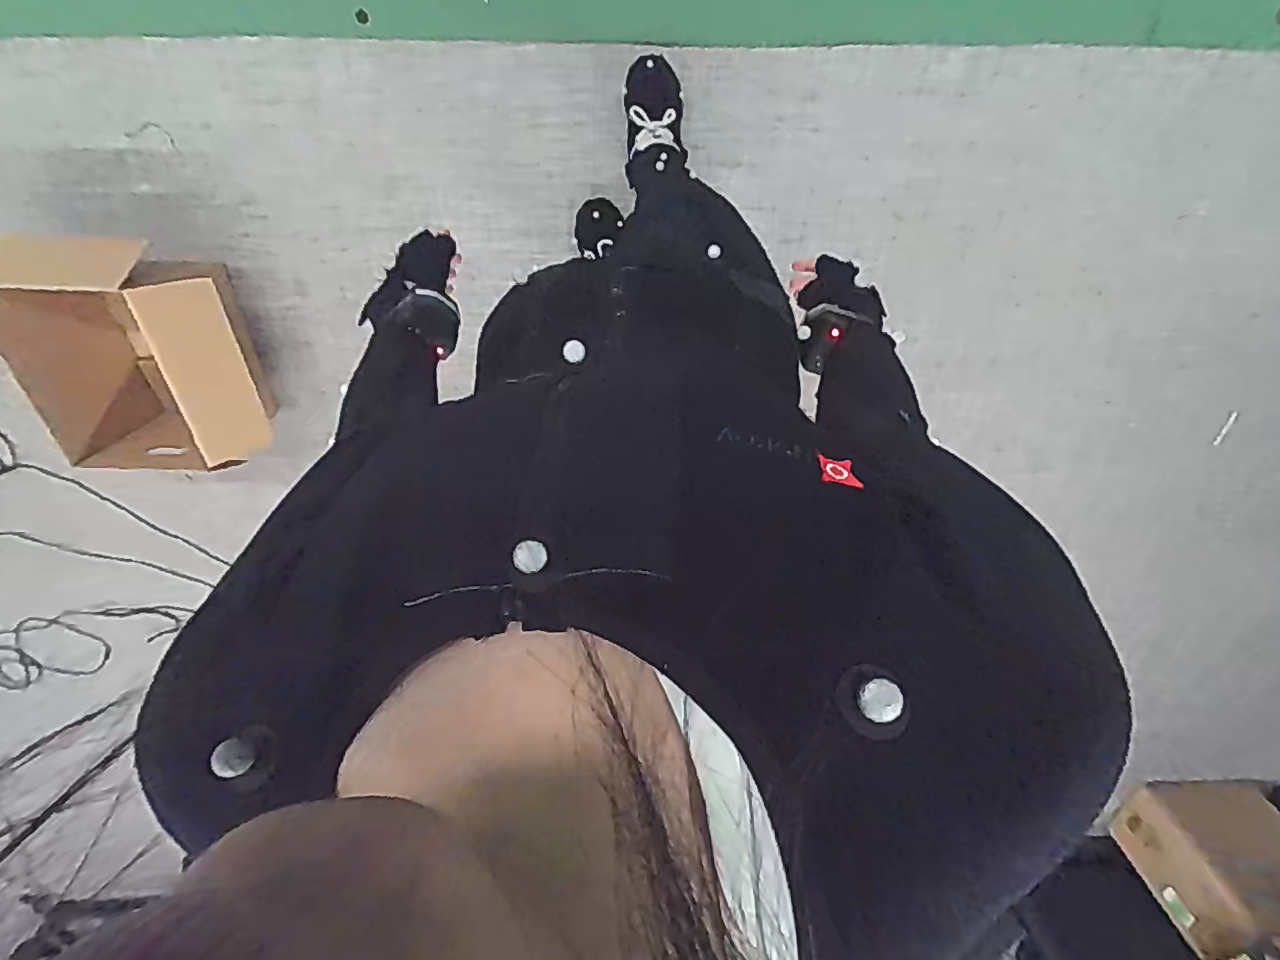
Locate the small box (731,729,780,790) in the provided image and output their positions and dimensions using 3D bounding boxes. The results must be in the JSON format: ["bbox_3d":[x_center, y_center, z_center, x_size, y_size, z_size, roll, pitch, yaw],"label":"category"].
[{"bbox_3d":[0.483,1.178,2.284,0.168,0.176,0.179,-2,122,-1],"label":"small box"}]

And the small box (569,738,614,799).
[{"bbox_3d":[-0.202,1.215,2.281,0.179,0.176,0.168,-2,121,-1],"label":"small box"}]
